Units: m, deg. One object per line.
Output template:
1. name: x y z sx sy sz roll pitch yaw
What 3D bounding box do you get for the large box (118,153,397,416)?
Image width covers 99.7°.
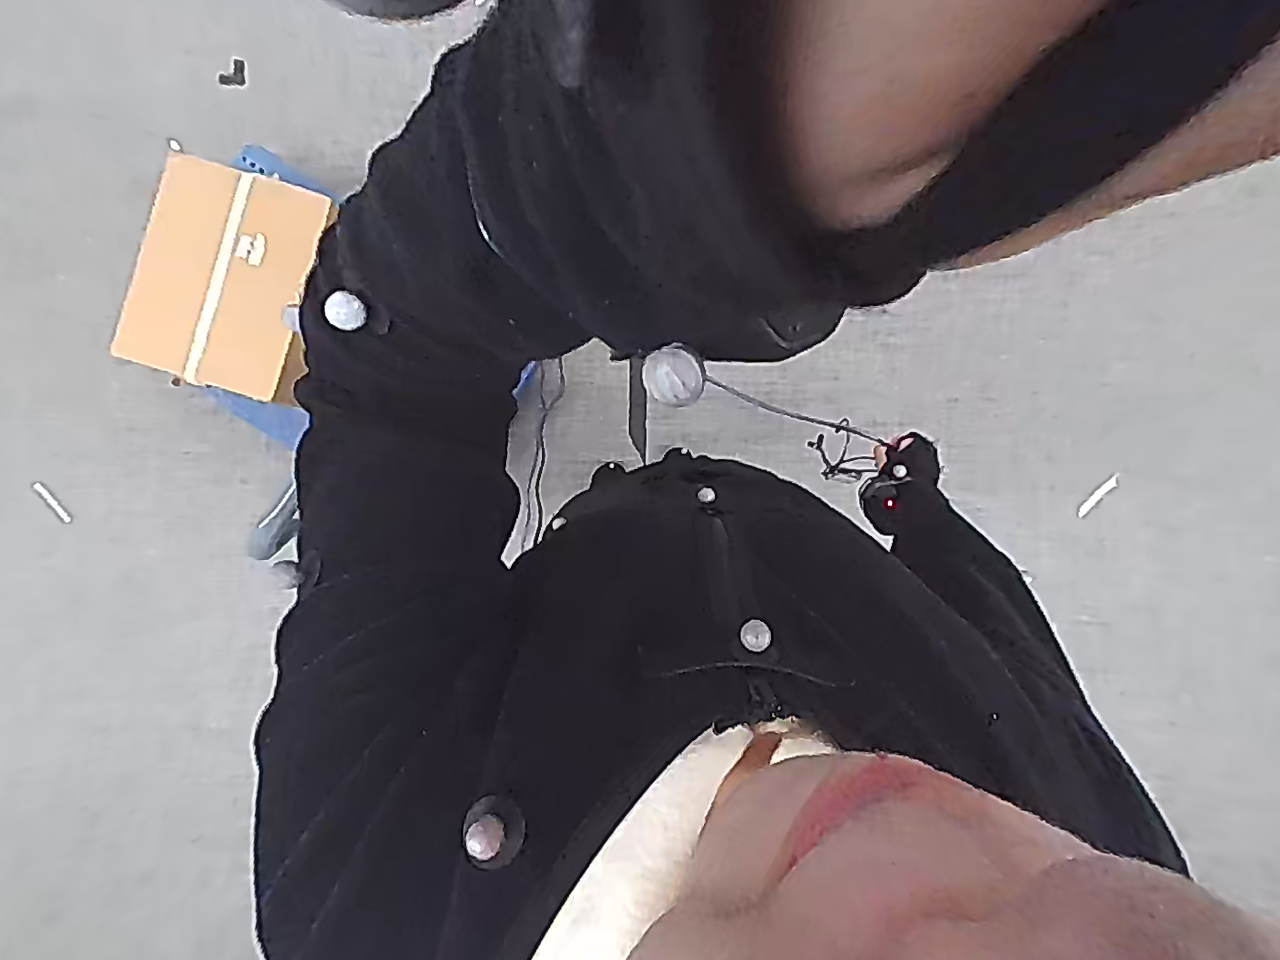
1. large box: -0.782 -0.381 1.162 0.320 0.320 0.408 17 90 -2
